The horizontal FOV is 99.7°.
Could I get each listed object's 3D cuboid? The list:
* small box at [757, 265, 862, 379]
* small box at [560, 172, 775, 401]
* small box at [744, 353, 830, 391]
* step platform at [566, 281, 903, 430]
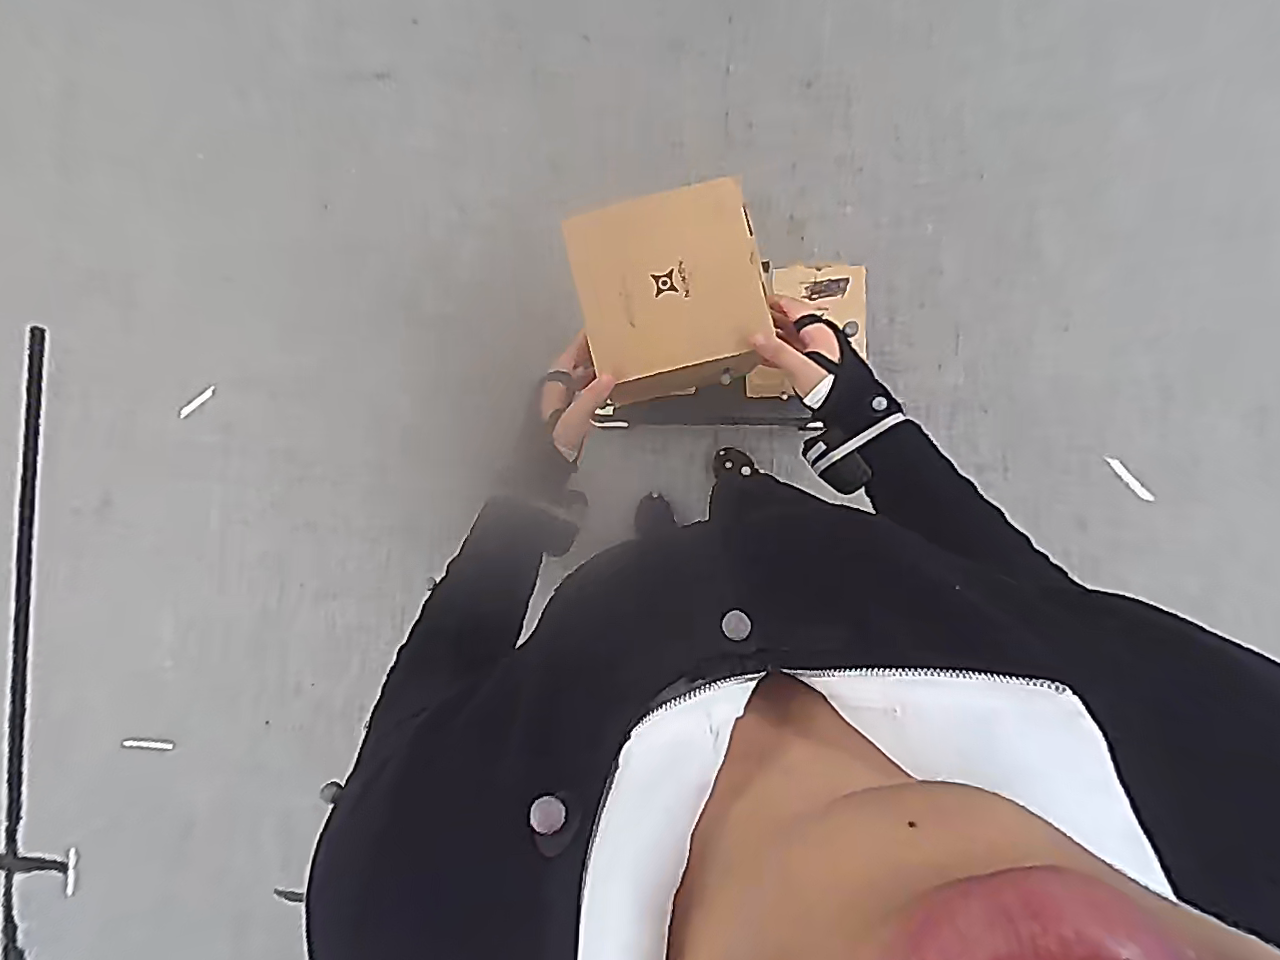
[{"bbox_3d":[0.322,-0.300,1.056,0.168,0.176,0.179,-1,90,4],"label":"small box"},{"bbox_3d":[0.028,-0.194,0.592,0.179,0.176,0.168,-15,90,3],"label":"small box"},{"bbox_3d":[0.325,-0.295,1.220,0.168,0.176,0.179,0,90,4],"label":"small box"},{"bbox_3d":[0.191,-0.260,1.193,0.684,0.204,0.286,0,89,3],"label":"step platform"}]
